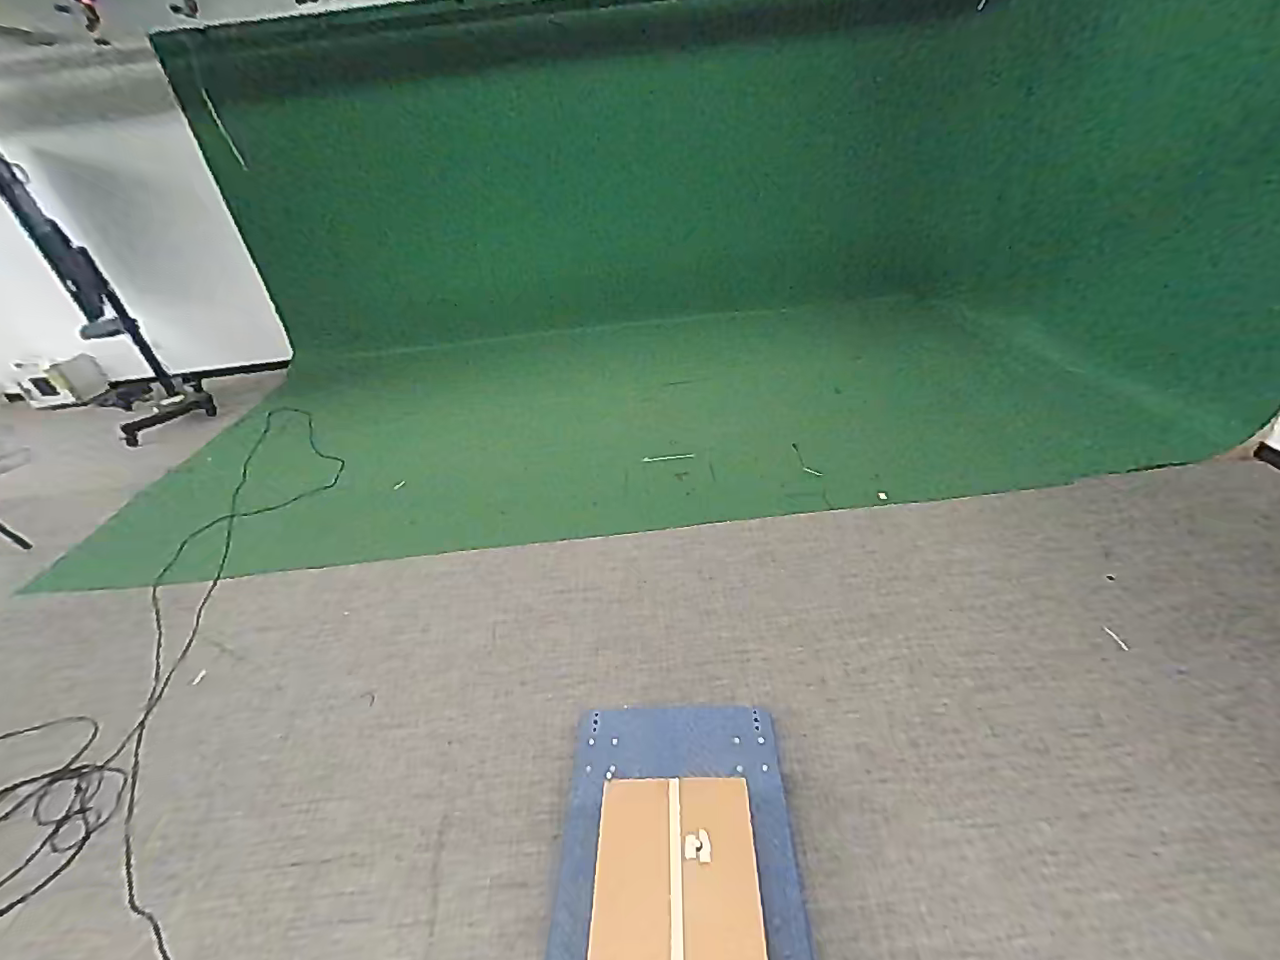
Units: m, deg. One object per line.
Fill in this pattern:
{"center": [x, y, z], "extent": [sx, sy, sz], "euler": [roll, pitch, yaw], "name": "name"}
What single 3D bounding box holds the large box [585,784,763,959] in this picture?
{"center": [0.075, 0.907, 1.103], "extent": [0.320, 0.320, 0.408], "euler": [-3, 33, 5], "name": "large box"}
